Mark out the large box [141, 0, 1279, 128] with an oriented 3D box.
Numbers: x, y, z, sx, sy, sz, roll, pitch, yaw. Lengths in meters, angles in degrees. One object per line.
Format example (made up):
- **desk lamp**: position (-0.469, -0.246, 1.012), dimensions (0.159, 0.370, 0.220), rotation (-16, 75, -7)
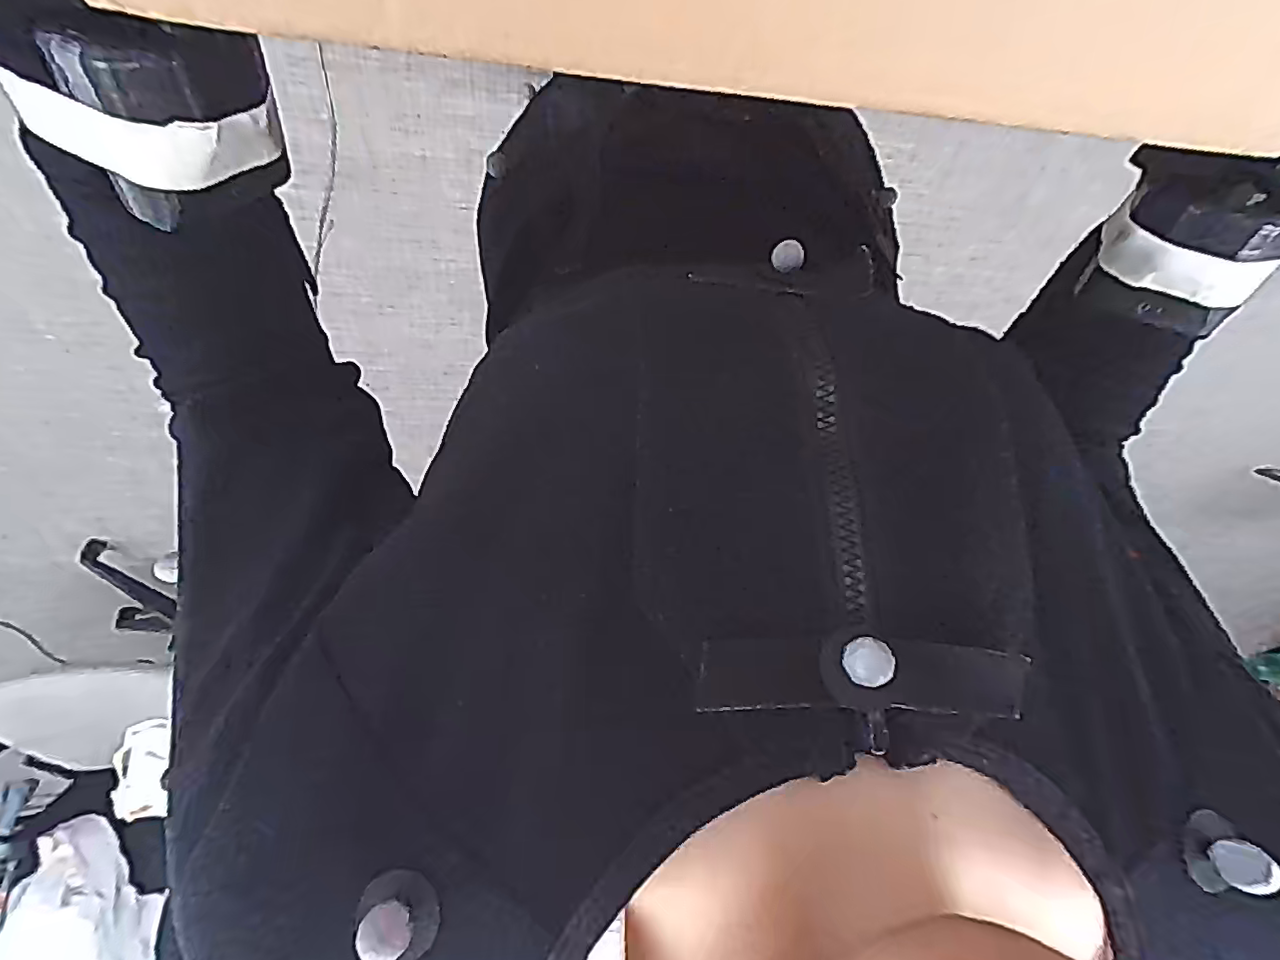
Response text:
- **large box**: position (0.055, -0.346, 0.137), dimensions (0.408, 0.320, 0.320), rotation (1, 147, -9)
